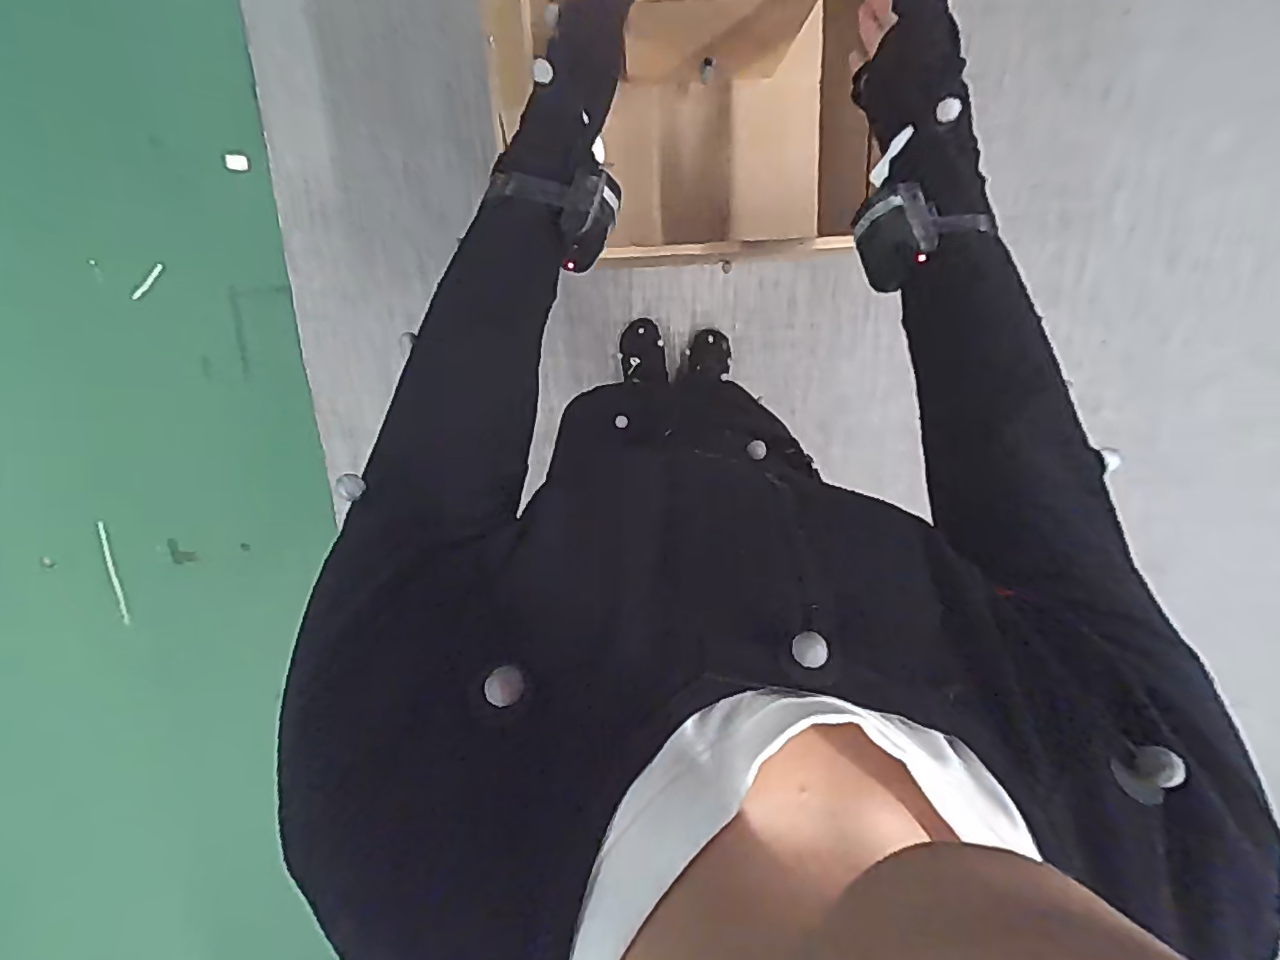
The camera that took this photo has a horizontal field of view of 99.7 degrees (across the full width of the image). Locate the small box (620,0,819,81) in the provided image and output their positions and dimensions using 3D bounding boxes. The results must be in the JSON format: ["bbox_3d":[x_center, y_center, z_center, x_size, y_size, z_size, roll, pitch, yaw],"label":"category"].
[{"bbox_3d":[0.068,-0.519,0.526,0.179,0.176,0.168,-4,105,-1],"label":"small box"}]
